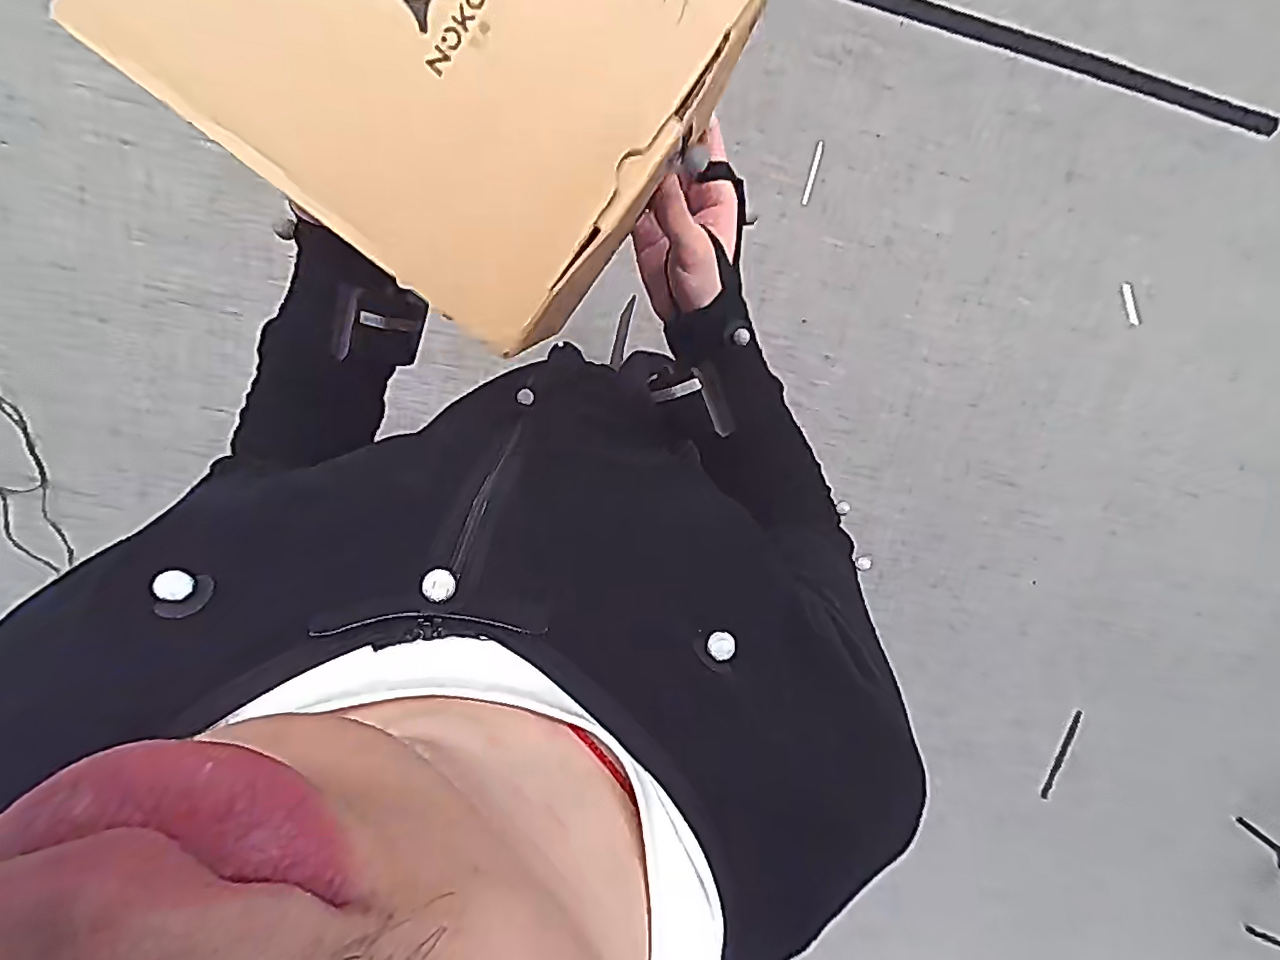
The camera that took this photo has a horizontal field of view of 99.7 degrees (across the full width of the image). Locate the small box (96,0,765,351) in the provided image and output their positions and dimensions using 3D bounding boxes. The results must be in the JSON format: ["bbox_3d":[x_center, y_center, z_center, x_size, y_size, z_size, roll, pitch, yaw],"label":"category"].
[{"bbox_3d":[-0.072,-0.186,0.261,0.179,0.176,0.168,35,102,-12],"label":"small box"}]
